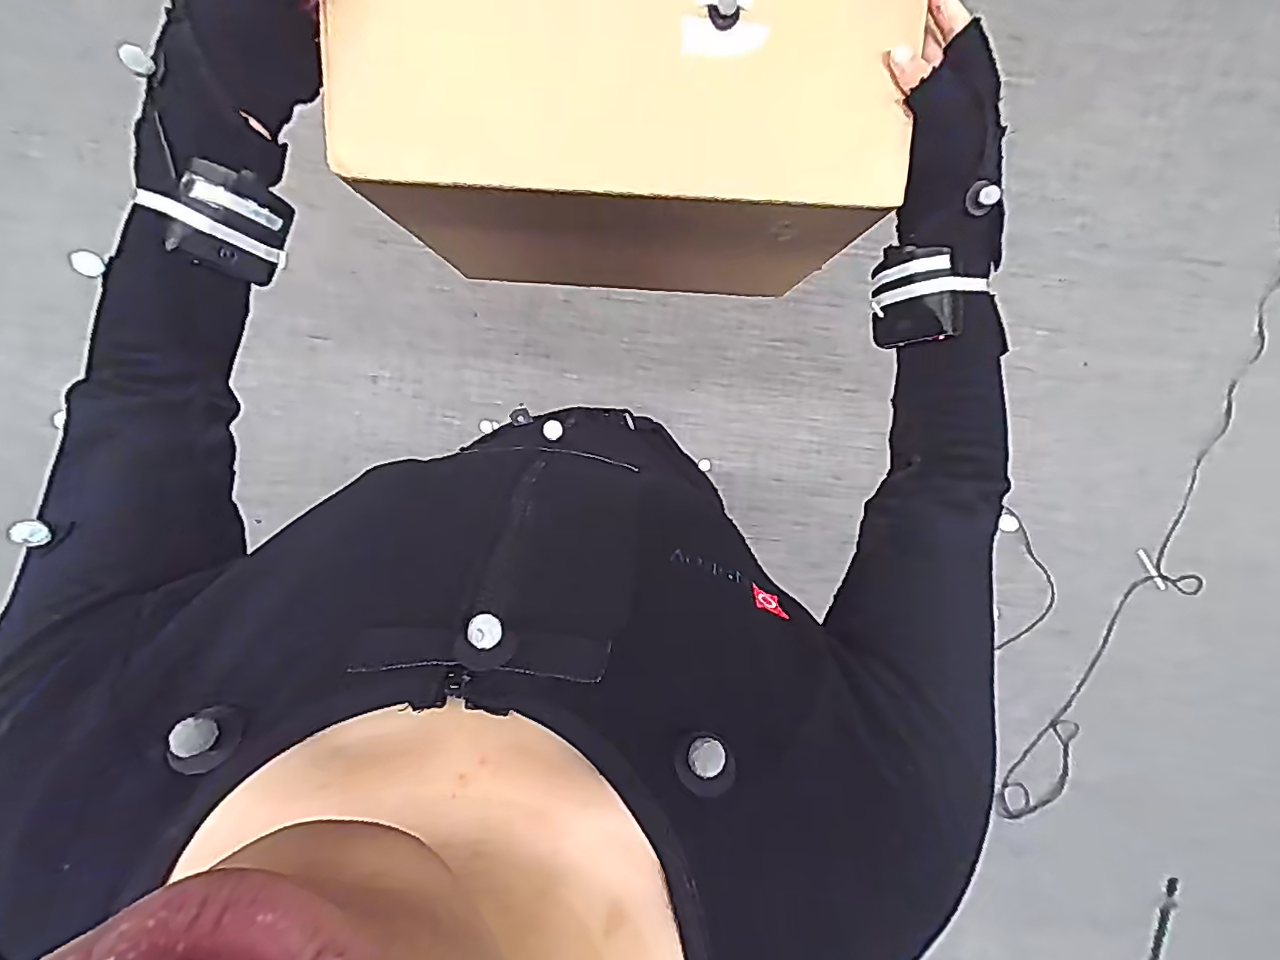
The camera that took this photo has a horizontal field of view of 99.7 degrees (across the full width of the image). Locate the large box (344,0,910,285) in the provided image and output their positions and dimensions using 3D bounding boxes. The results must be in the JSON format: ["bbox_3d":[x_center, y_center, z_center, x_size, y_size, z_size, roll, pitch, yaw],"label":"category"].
[{"bbox_3d":[-0.010,-0.386,0.521,0.408,0.320,0.320,2,98,-2],"label":"large box"}]
